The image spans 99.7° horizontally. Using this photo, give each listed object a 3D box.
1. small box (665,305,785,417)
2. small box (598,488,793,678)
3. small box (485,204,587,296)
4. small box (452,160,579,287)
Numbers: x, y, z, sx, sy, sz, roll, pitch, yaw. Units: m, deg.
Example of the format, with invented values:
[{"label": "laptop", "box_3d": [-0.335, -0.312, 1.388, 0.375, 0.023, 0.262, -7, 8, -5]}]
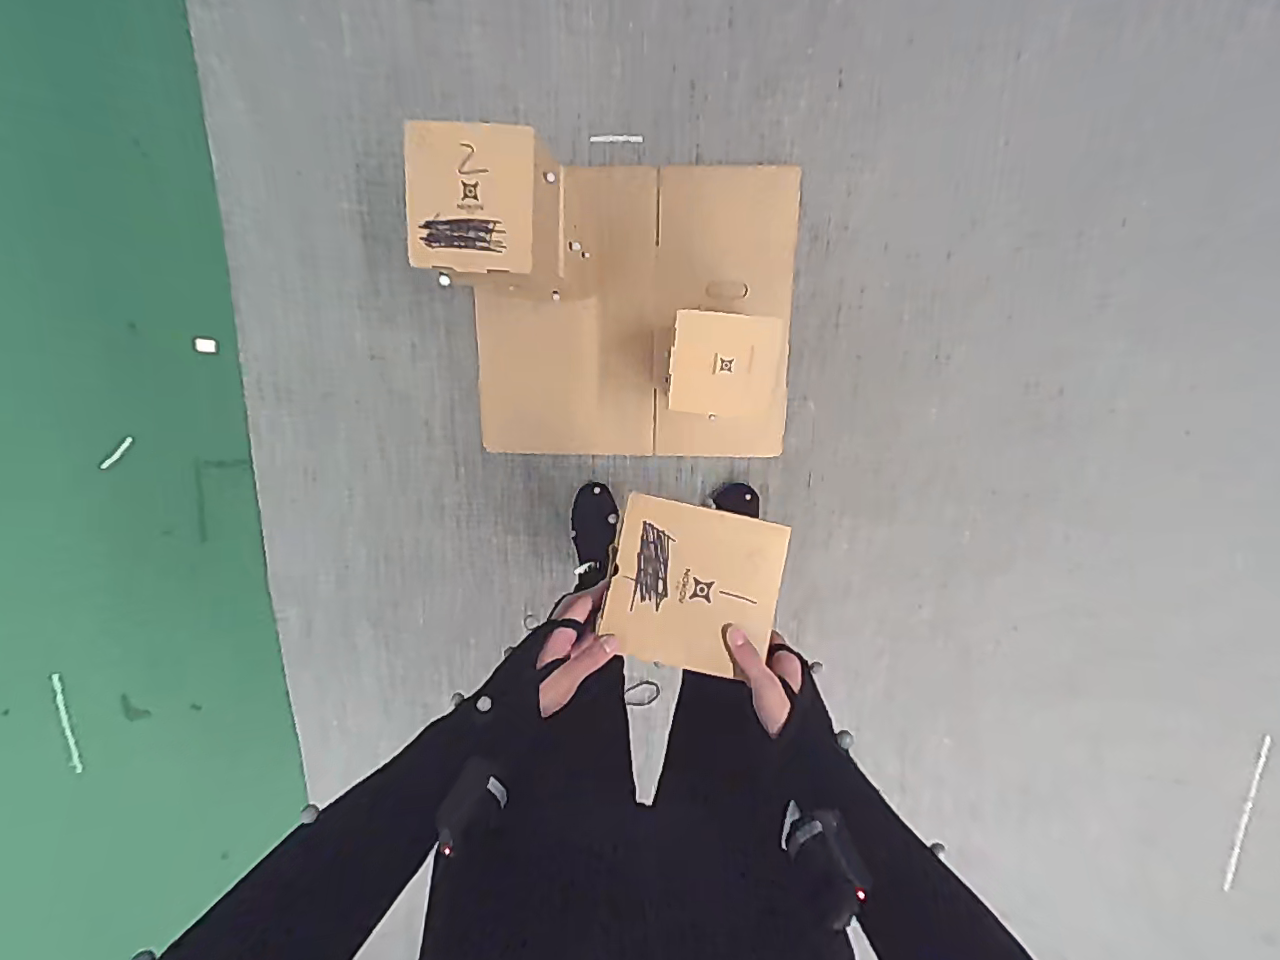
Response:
[{"label": "small box", "box_3d": [0.141, -0.209, 0.954, 0.179, 0.176, 0.168, 6, 104, 1]}, {"label": "small box", "box_3d": [0.055, 0.111, 0.632, 0.179, 0.176, 0.168, 12, 86, -2]}, {"label": "small box", "box_3d": [-0.200, -0.462, 1.075, 0.179, 0.176, 0.168, 2, 103, 2]}, {"label": "small box", "box_3d": [-0.201, -0.425, 0.918, 0.179, 0.176, 0.168, 2, 104, 3]}]
